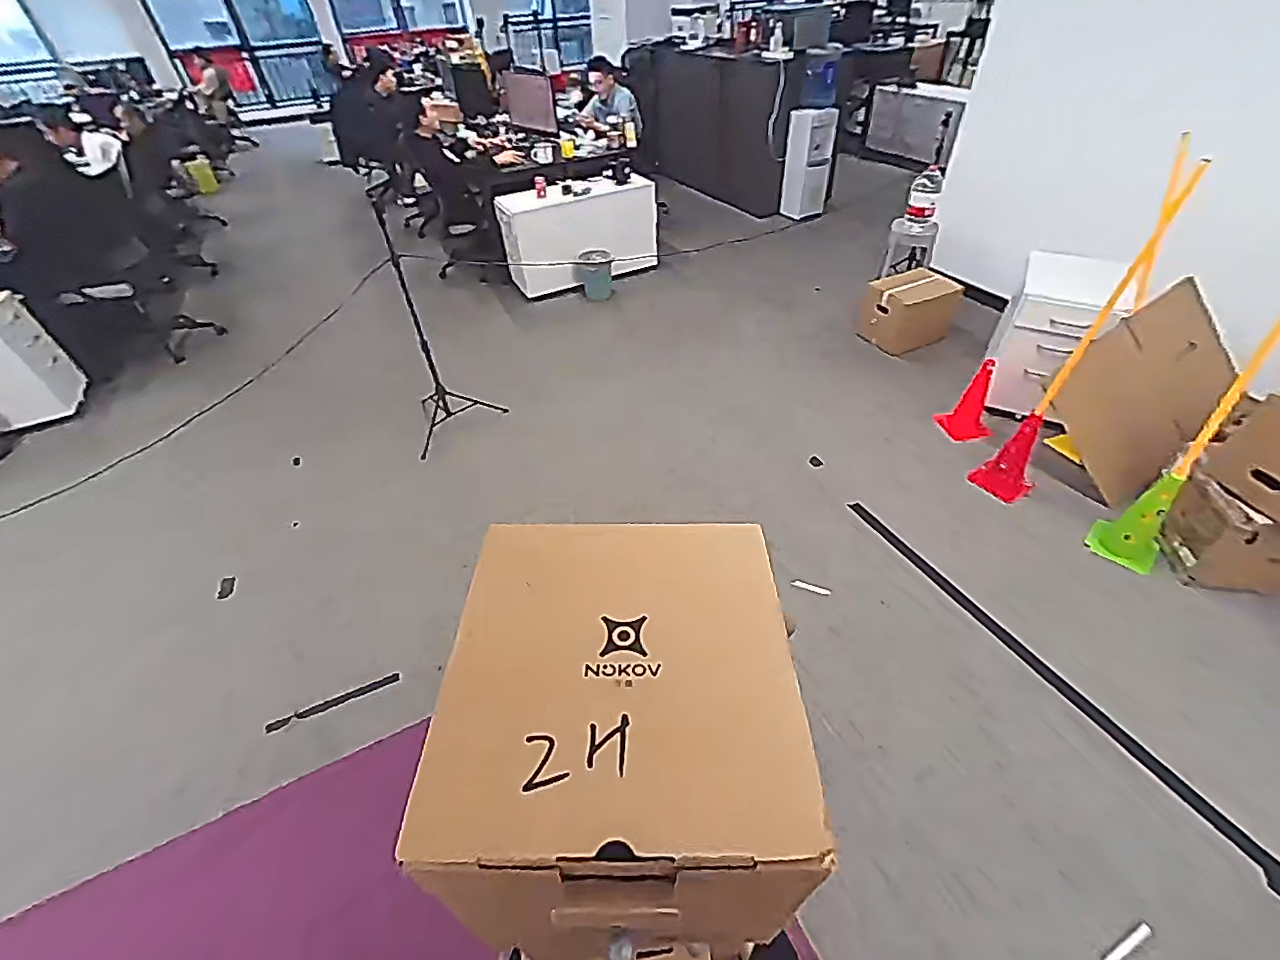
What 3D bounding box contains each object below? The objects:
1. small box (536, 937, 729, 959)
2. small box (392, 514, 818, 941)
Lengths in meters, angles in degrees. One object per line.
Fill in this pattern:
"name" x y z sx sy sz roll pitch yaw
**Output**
"small box" -0.008 0.375 0.546 0.168 0.176 0.179 -5 42 -4
"small box" -0.012 0.140 0.317 0.168 0.176 0.179 0 43 1
